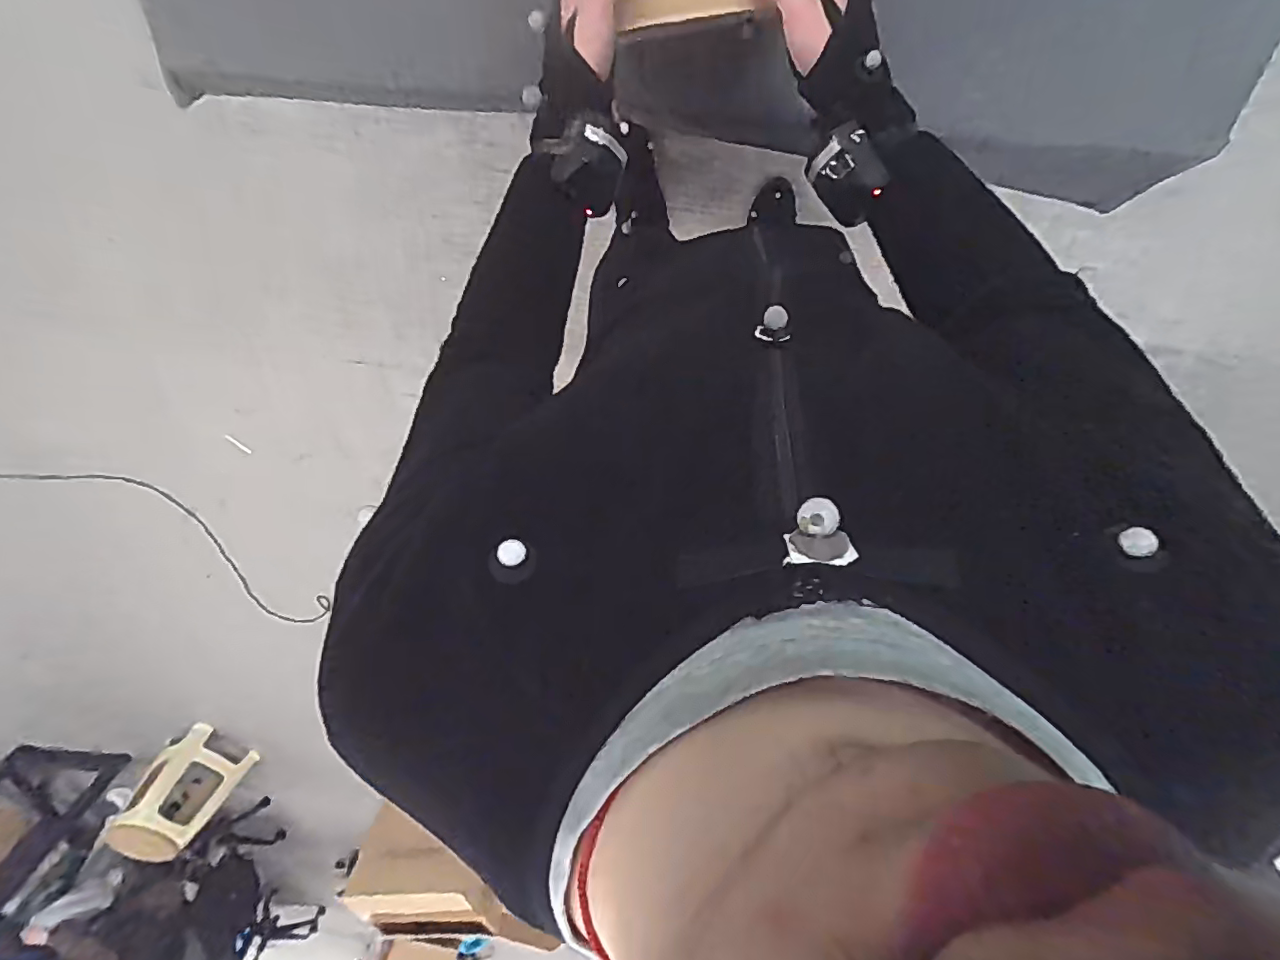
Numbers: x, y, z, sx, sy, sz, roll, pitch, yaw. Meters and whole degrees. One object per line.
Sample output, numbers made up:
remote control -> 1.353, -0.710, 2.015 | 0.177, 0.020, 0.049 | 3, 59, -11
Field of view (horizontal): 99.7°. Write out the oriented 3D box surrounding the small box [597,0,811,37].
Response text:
small box -> 0.052, -0.479, 0.439 | 0.179, 0.176, 0.168 | -2, 126, 9
